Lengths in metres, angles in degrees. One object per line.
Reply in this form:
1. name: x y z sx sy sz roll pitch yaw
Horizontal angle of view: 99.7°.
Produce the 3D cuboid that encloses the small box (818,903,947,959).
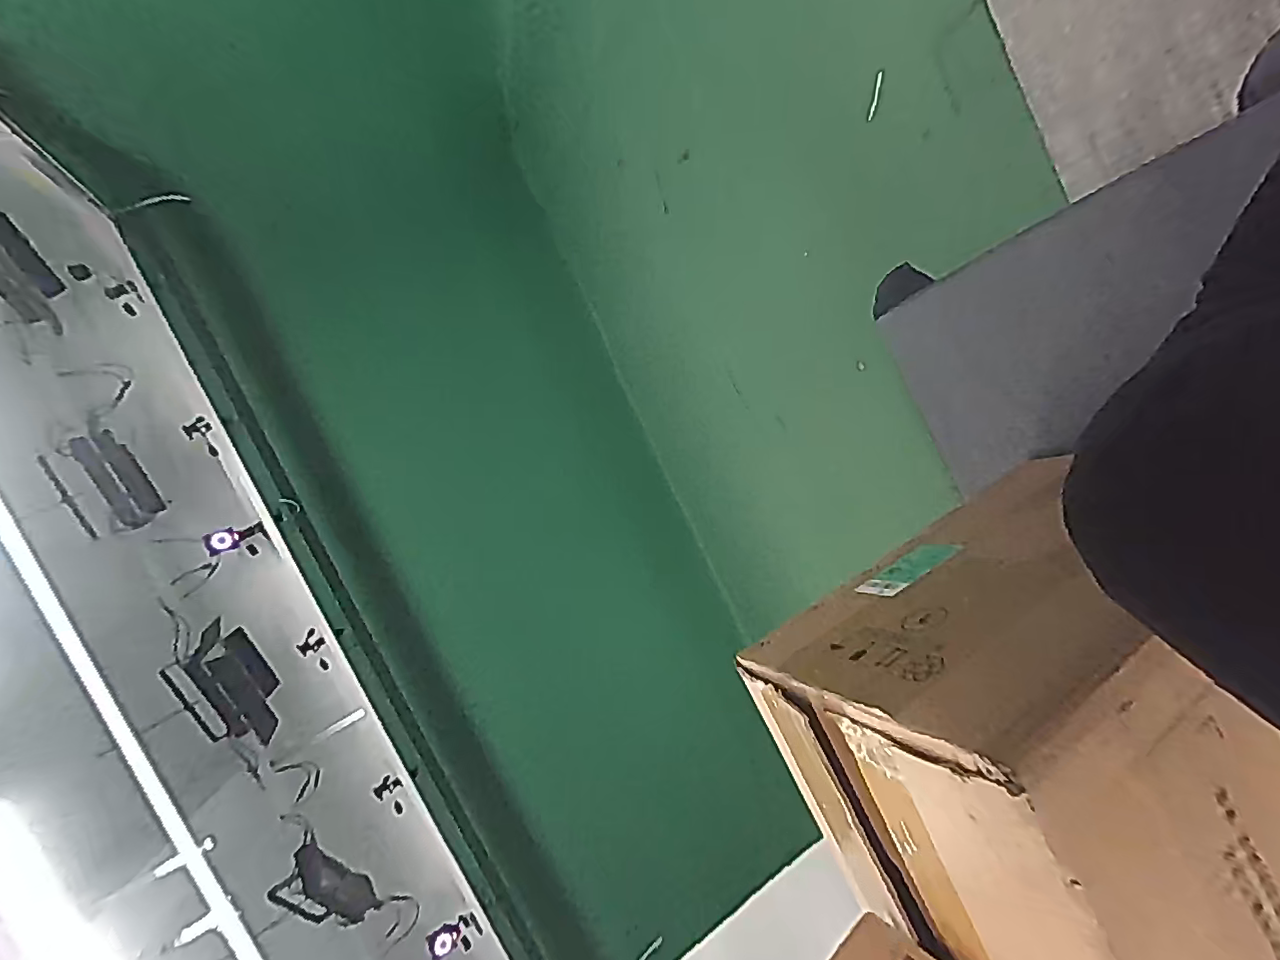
1. small box: 0.250 0.558 0.493 0.168 0.176 0.179 0 114 57
